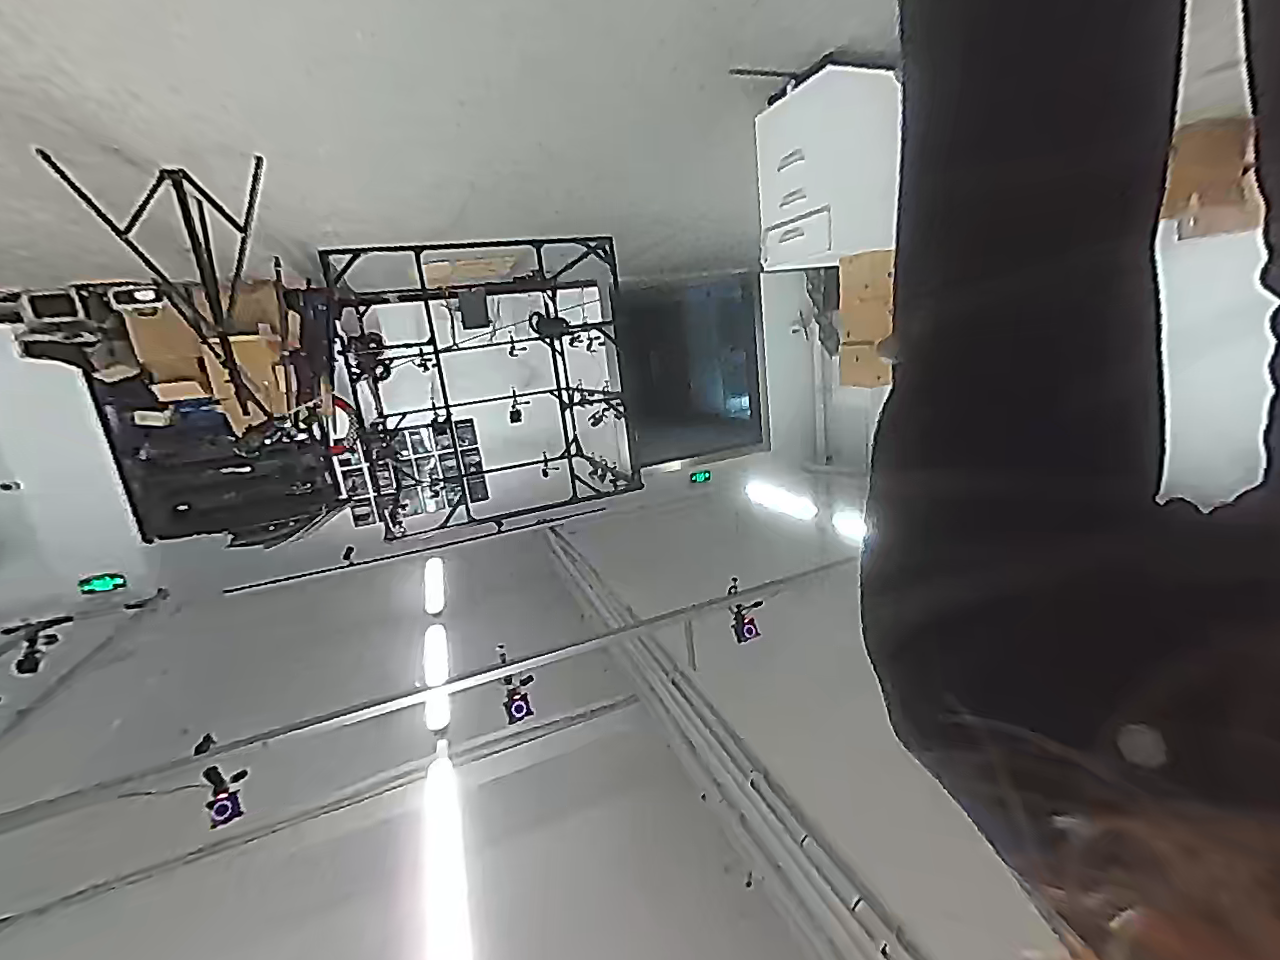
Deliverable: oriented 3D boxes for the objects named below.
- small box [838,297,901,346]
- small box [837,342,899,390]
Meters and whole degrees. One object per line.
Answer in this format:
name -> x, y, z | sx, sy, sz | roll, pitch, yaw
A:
small box -> 0.904, -0.622, 2.127 | 0.168, 0.176, 0.179 | -14, -163, -23
small box -> 0.915, -0.464, 2.164 | 0.179, 0.176, 0.168 | -13, -163, -23
